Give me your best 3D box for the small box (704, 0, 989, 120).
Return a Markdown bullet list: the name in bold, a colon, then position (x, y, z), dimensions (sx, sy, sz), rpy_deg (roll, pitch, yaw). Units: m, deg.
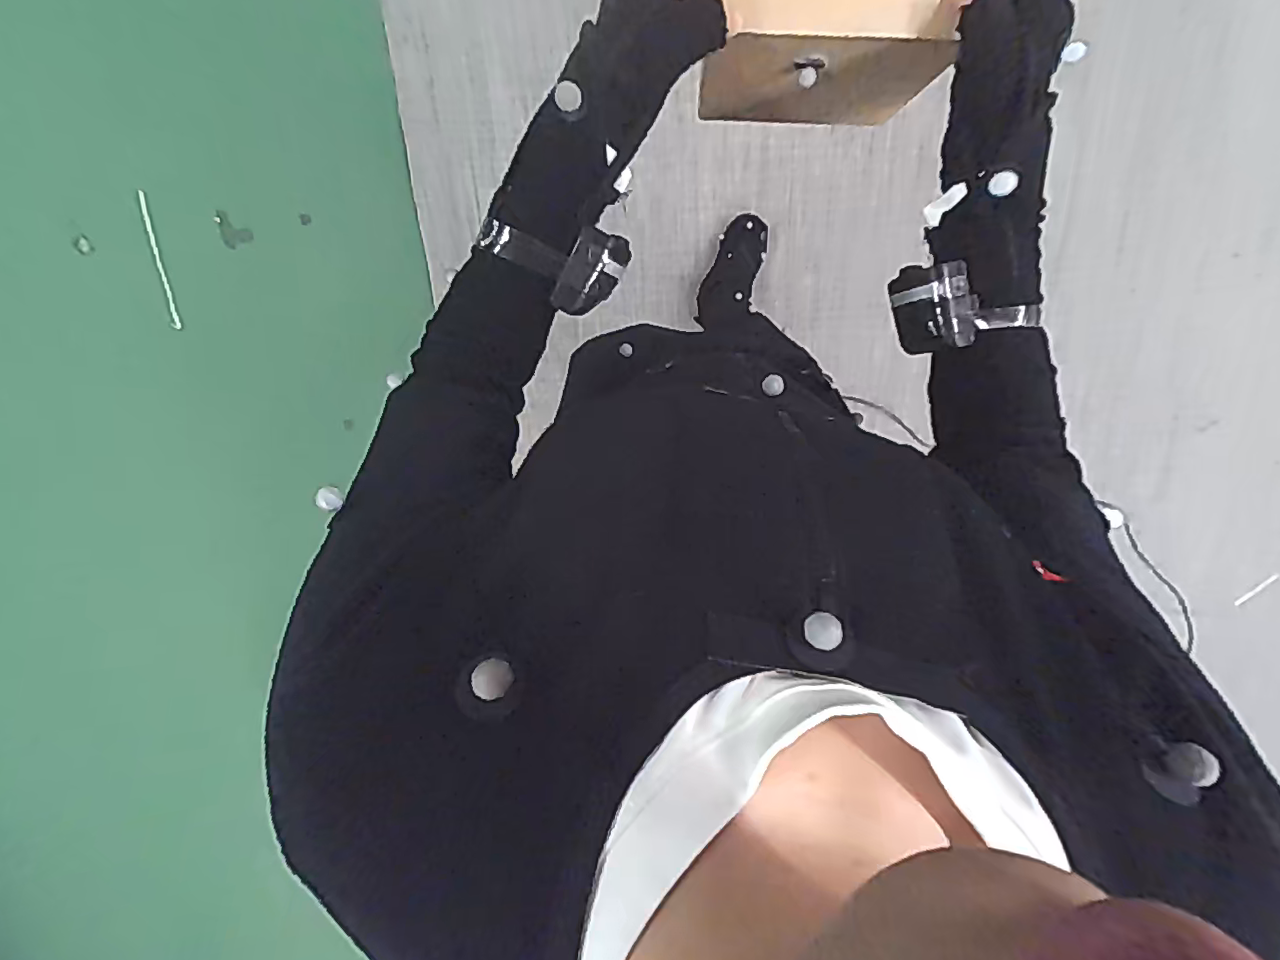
- **small box**: position (0.144, -0.393, 0.407), dimensions (0.179, 0.176, 0.168), rpy_deg (3, 107, 1)
